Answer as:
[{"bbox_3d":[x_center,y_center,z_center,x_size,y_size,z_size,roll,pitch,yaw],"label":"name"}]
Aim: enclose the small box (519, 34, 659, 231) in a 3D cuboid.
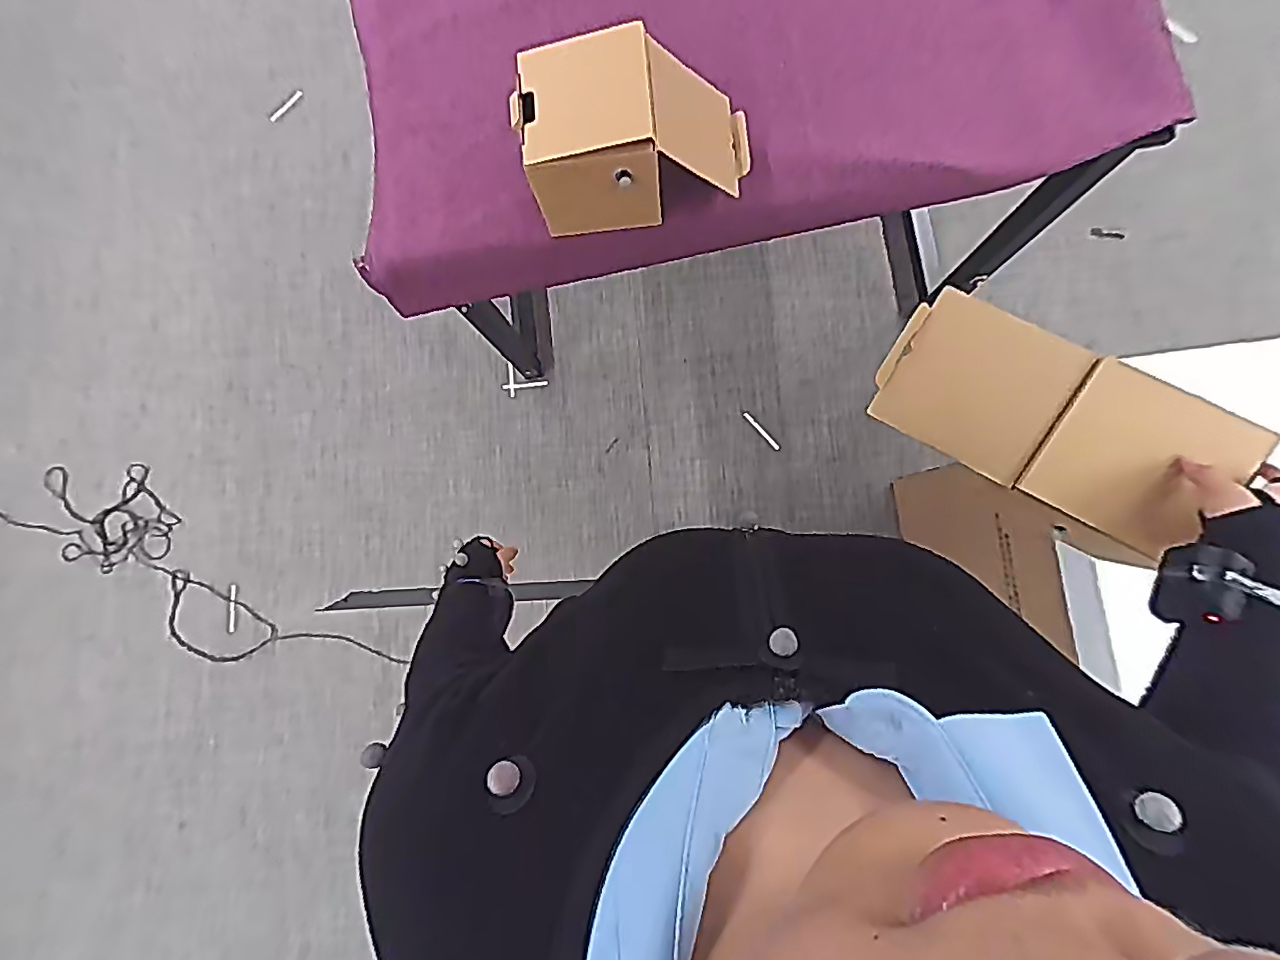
[{"bbox_3d":[-0.063,-0.486,0.780,0.179,0.176,0.168,-5,83,5],"label":"small box"}]
